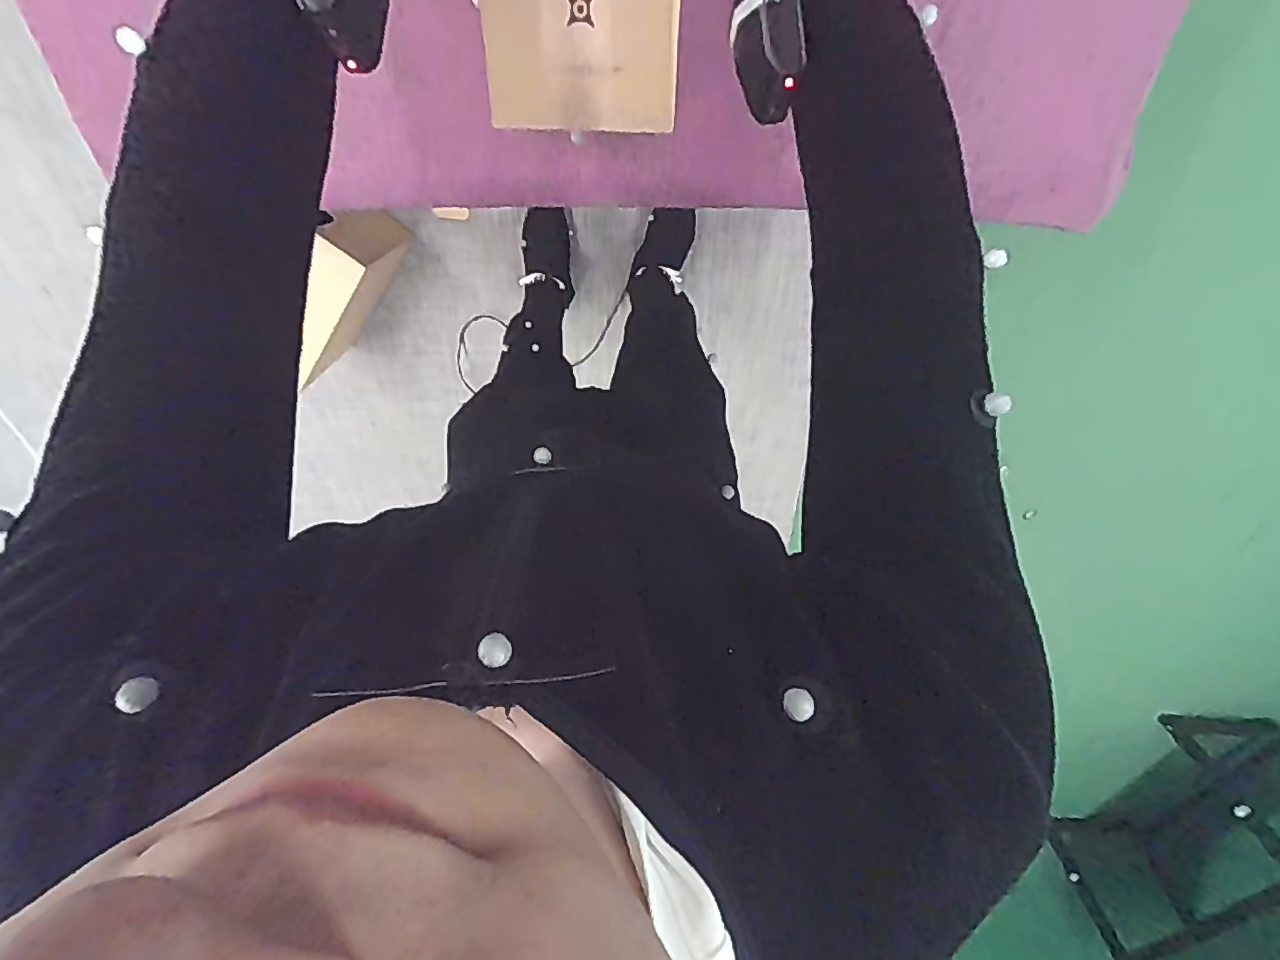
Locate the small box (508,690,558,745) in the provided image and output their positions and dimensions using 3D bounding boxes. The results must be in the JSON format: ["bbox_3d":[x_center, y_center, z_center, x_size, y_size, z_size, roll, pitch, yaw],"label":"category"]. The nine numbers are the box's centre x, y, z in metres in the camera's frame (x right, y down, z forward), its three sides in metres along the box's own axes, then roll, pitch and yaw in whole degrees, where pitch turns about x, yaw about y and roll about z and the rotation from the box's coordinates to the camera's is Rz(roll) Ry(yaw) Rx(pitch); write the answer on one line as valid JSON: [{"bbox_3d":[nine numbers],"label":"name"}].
[{"bbox_3d":[-0.472,1.055,2.403,0.179,0.176,0.168,-2,125,1],"label":"small box"}]

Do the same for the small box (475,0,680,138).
[{"bbox_3d":[-0.050,-0.423,0.495,0.168,0.176,0.179,2,125,-1],"label":"small box"}]

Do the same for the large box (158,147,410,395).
[{"bbox_3d":[-0.814,-0.488,1.270,0.320,0.320,0.408,34,118,-23],"label":"large box"}]
